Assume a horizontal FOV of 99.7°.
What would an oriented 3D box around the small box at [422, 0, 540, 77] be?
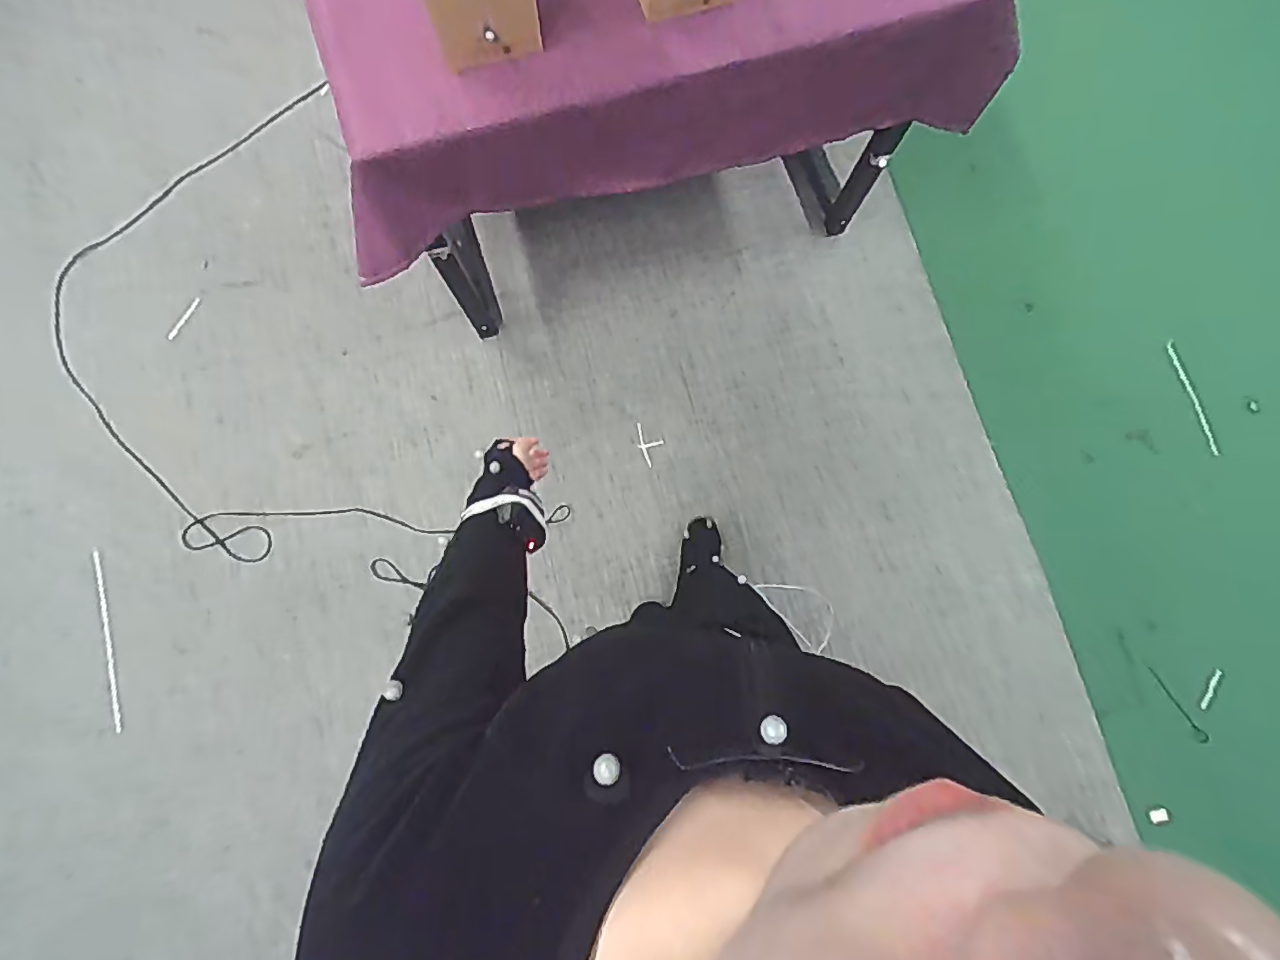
[{"bbox_3d":[-0.268,-0.799,0.861,0.168,0.176,0.179,-17,80,-4],"label":"small box"}]
